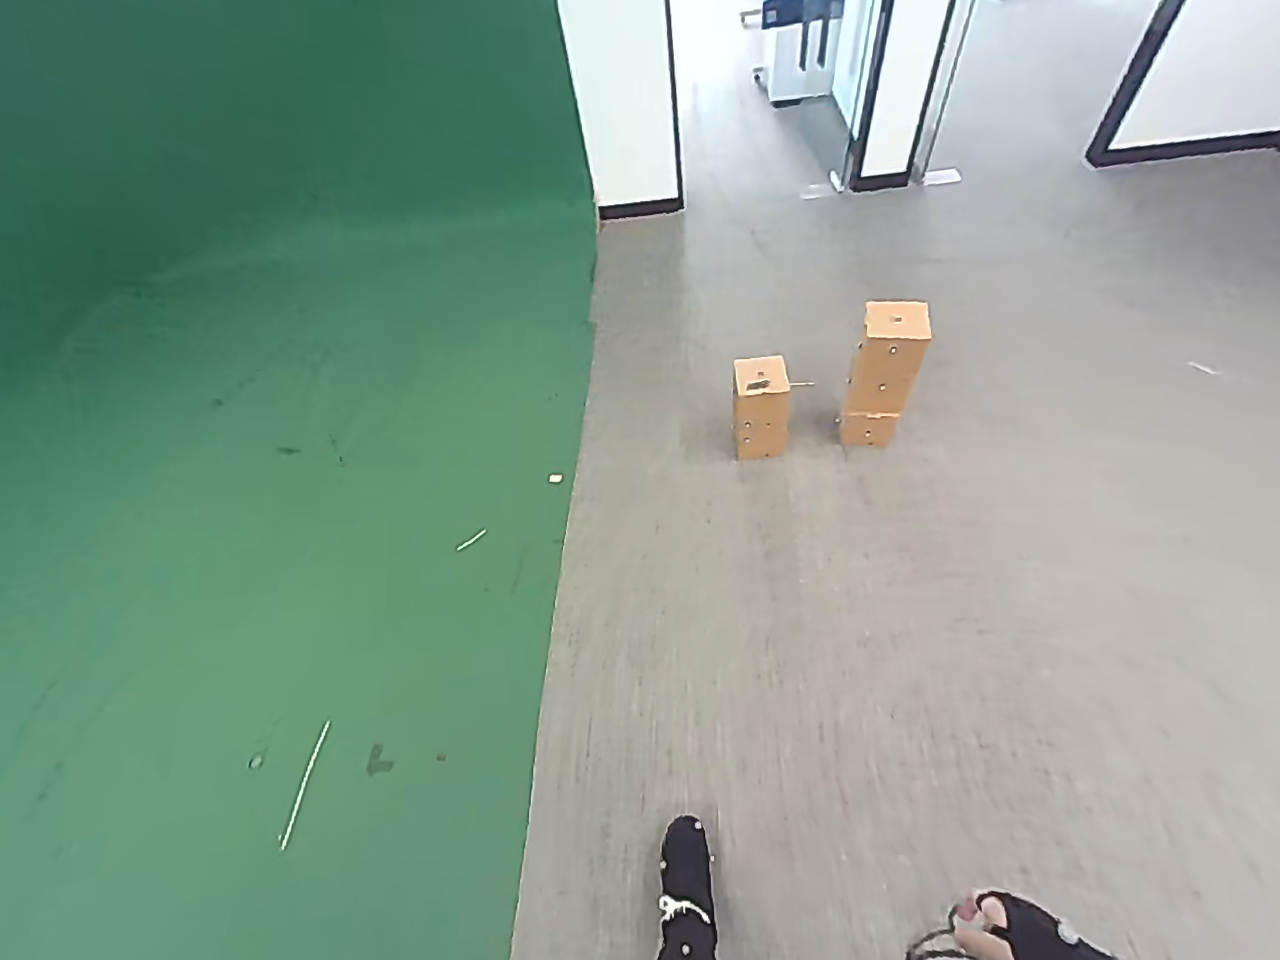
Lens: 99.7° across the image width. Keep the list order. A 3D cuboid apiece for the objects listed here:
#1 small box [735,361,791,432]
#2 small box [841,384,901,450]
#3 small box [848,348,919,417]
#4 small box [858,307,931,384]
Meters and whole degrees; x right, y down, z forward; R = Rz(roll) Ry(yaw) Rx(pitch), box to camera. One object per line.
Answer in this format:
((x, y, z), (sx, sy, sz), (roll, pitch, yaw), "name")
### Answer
((0.412, -0.274, 1.829), (0.168, 0.176, 0.179), (-5, 52, 6), "small box")
((0.817, -0.222, 1.926), (0.168, 0.176, 0.179), (4, 56, 12), "small box")
((0.805, -0.325, 1.800), (0.179, 0.176, 0.168), (2, 54, 12), "small box")
((0.777, -0.413, 1.666), (0.179, 0.176, 0.168), (6, 56, 14), "small box")
